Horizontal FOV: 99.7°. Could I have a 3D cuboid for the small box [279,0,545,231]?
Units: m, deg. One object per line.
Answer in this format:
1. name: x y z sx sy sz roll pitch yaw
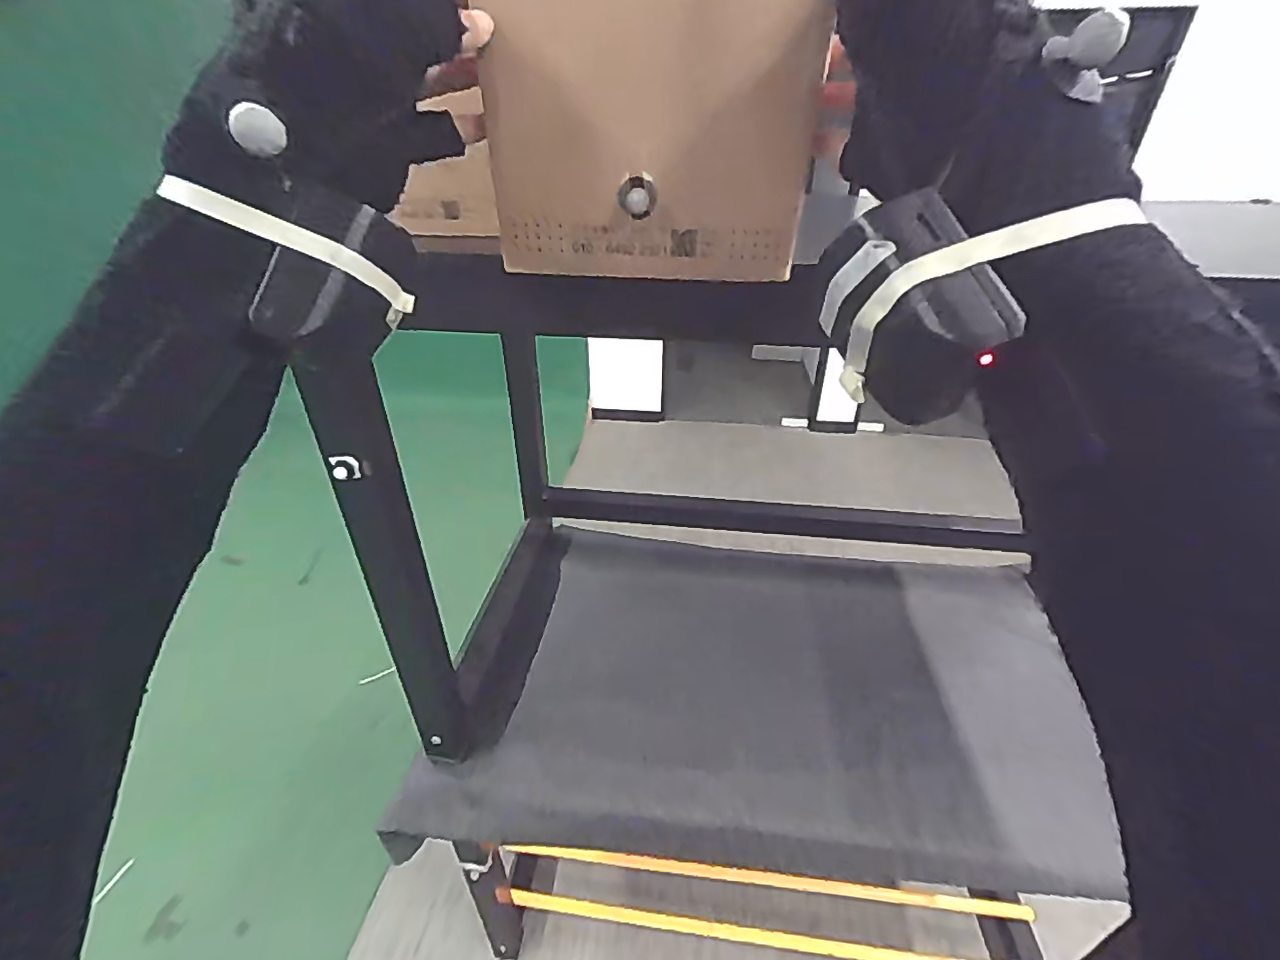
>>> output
1. small box: -0.186 -0.336 0.510 0.168 0.176 0.179 1 31 -1
